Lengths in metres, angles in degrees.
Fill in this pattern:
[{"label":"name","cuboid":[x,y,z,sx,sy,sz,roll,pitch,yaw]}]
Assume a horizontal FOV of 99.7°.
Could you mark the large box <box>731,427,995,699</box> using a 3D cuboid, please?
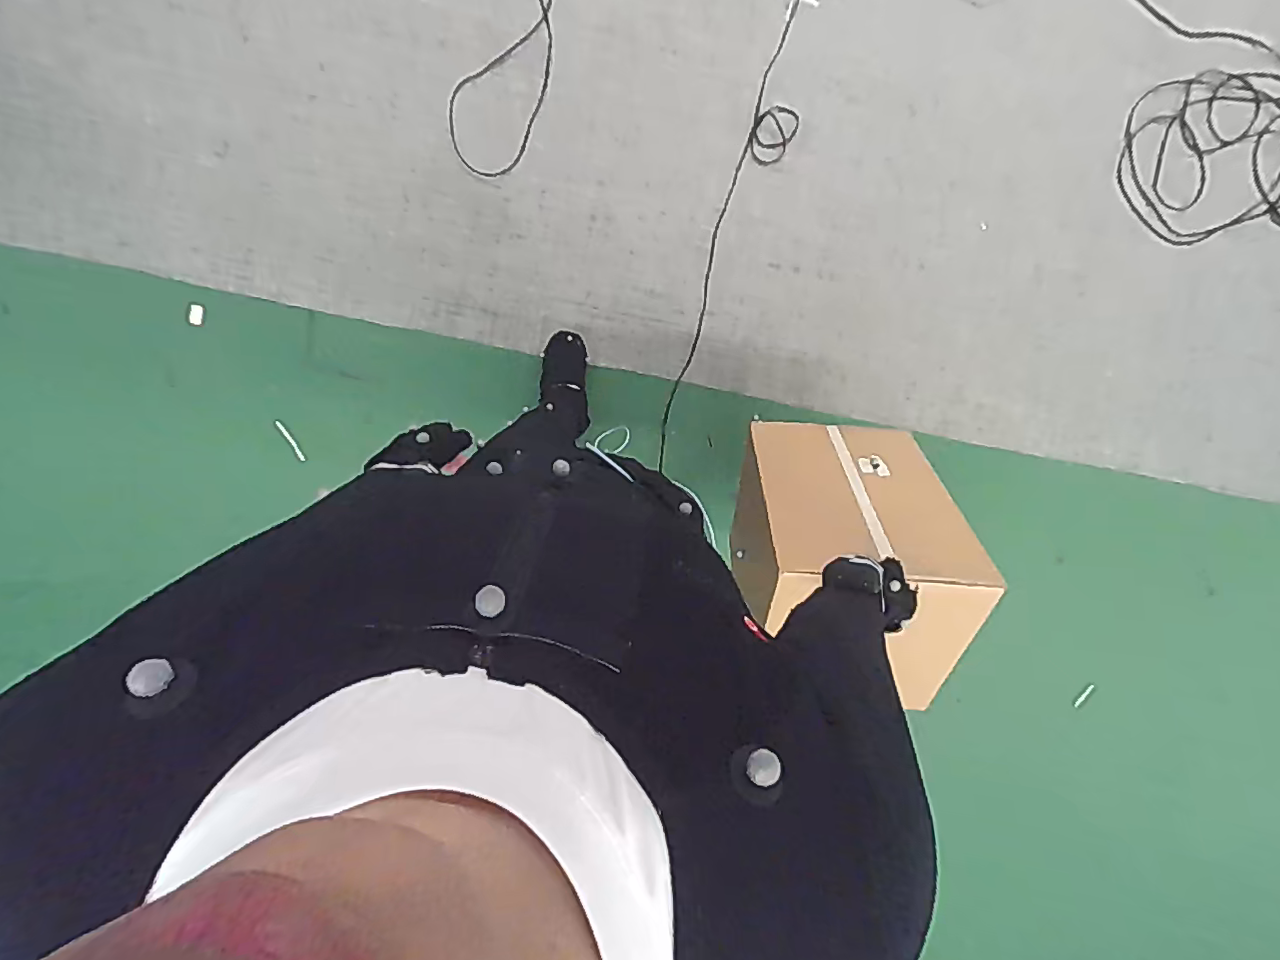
[{"label":"large box","cuboid":[0.354,0.141,1.004,0.320,0.408,0.320,4,127,1]}]
